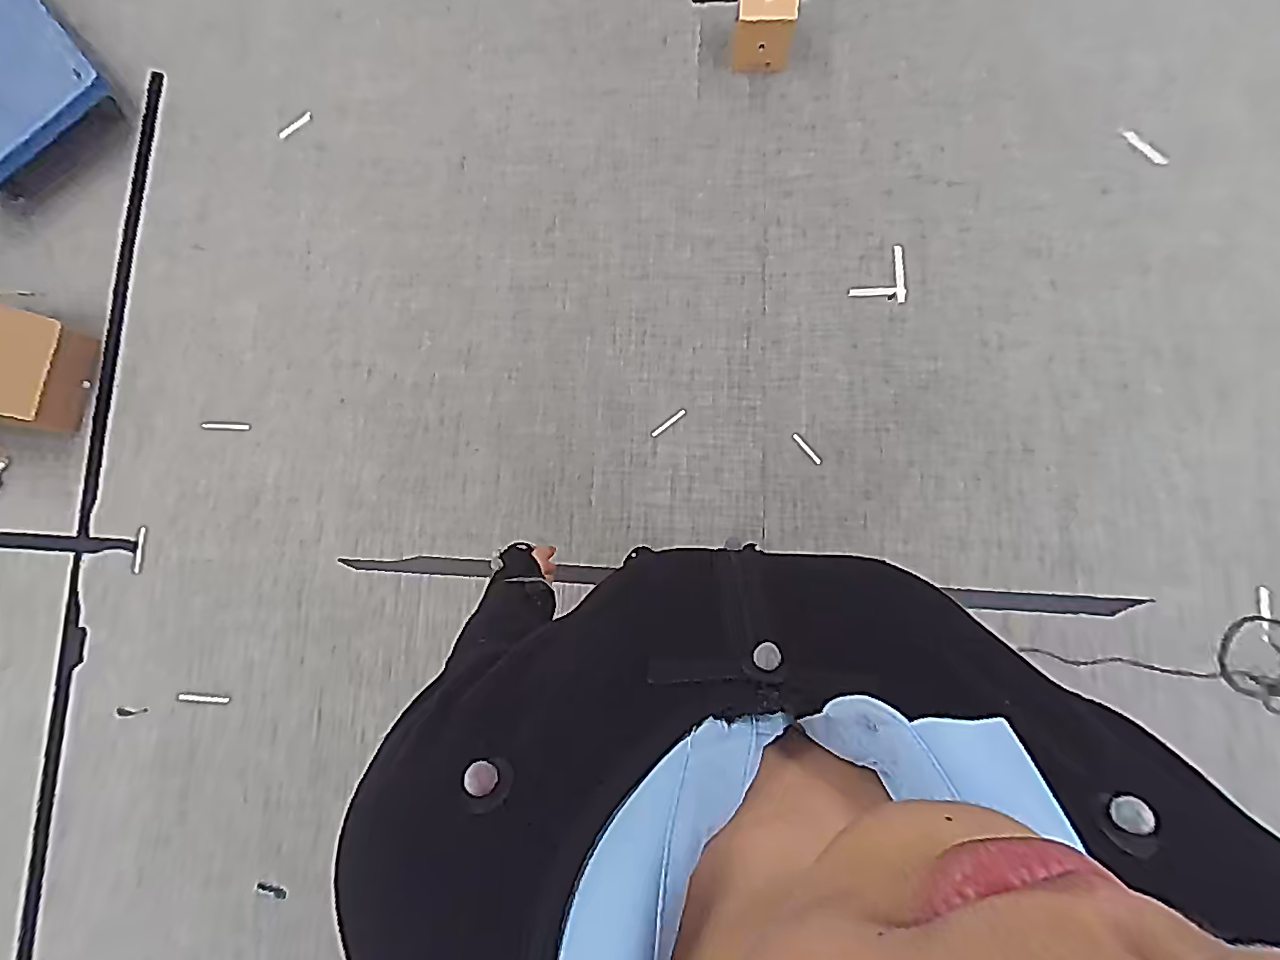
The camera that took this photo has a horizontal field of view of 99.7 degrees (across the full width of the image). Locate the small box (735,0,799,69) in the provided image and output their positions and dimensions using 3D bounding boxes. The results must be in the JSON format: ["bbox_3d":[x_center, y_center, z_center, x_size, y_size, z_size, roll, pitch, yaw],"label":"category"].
[{"bbox_3d":[0.375,-1.365,1.606,0.168,0.176,0.179,4,83,4],"label":"small box"}]
